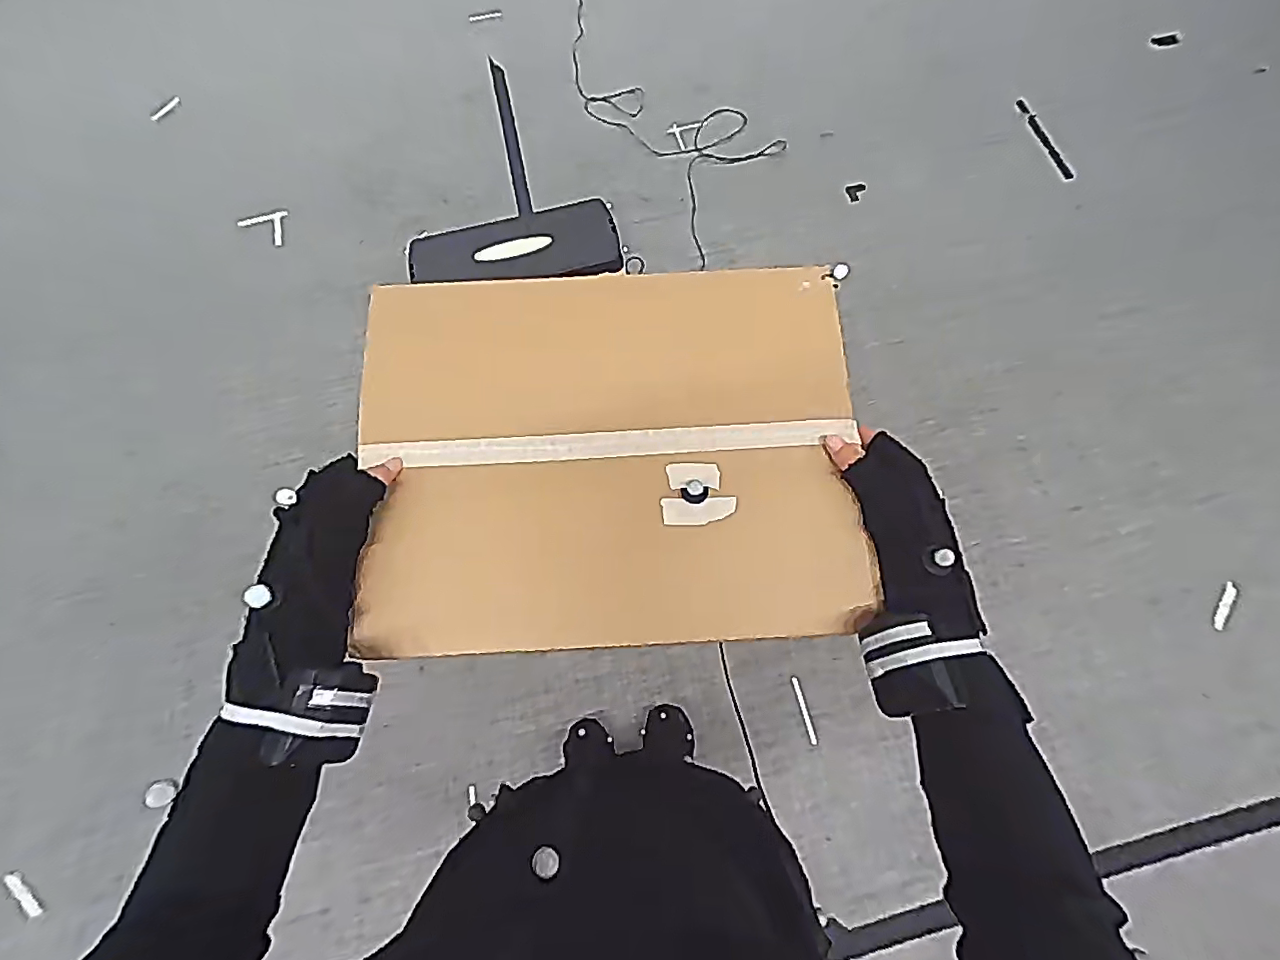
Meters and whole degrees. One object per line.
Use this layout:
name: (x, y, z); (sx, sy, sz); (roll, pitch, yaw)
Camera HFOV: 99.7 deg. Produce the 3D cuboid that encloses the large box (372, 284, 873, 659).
large box: (-0.023, 0.016, 0.603); (0.408, 0.320, 0.320); (-3, 76, -1)
